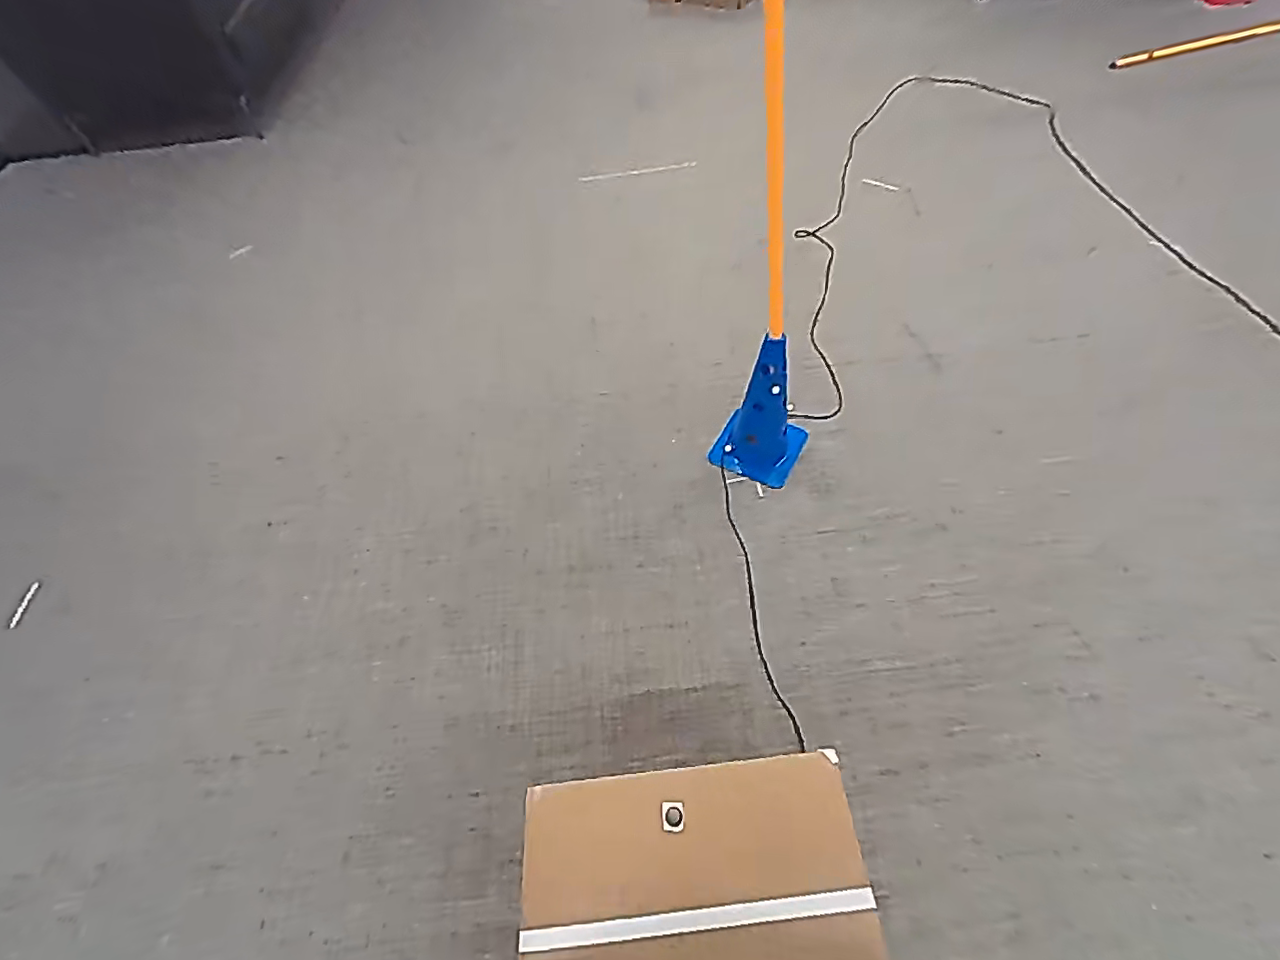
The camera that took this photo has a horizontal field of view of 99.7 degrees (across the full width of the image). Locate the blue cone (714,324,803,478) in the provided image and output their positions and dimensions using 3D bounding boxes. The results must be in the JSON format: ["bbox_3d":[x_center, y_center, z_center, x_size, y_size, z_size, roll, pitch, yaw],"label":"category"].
[{"bbox_3d":[0.281,-0.187,1.202,0.192,0.380,0.193,21,61,19],"label":"blue cone"}]
